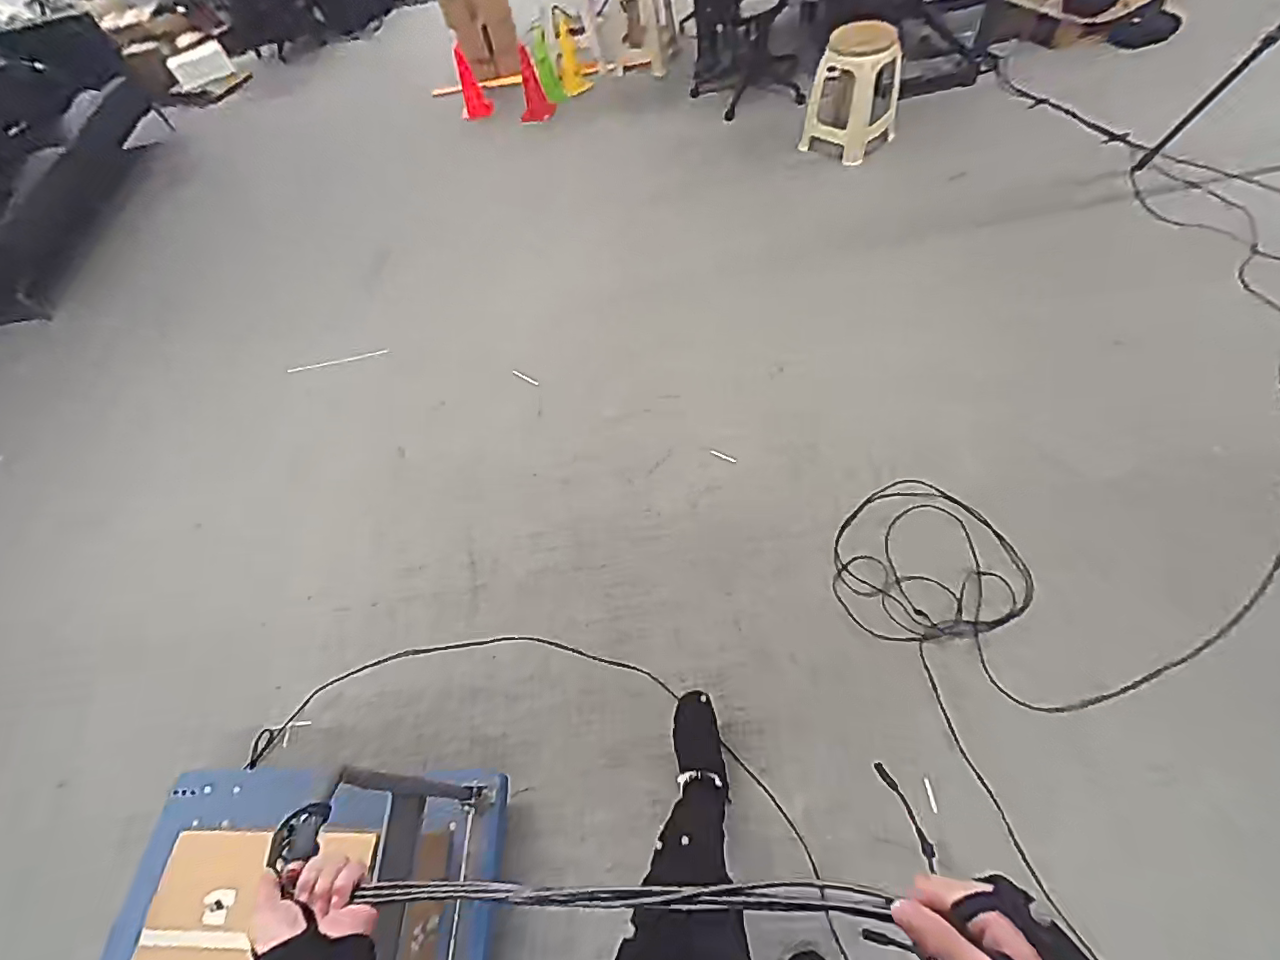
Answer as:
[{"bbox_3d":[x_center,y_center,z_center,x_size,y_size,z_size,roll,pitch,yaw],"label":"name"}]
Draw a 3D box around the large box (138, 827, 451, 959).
[{"bbox_3d":[-0.636,0.857,1.038,0.408,0.320,0.320,-5,57,8],"label":"large box"}]
